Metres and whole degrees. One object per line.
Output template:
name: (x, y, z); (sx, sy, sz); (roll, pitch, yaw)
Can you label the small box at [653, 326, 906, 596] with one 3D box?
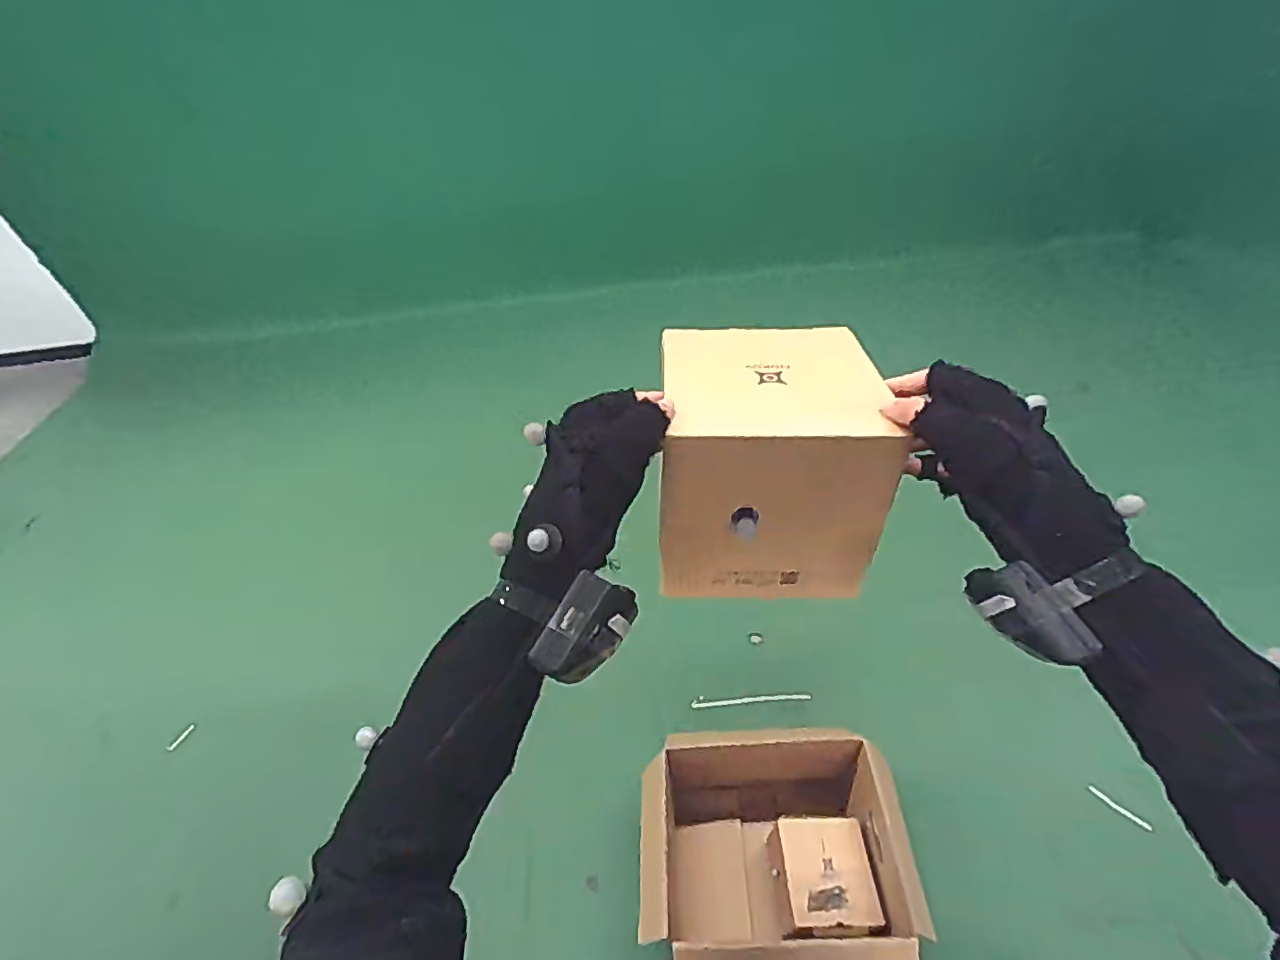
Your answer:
small box: (0.096, -0.017, 0.462); (0.168, 0.176, 0.179); (0, 38, 2)
